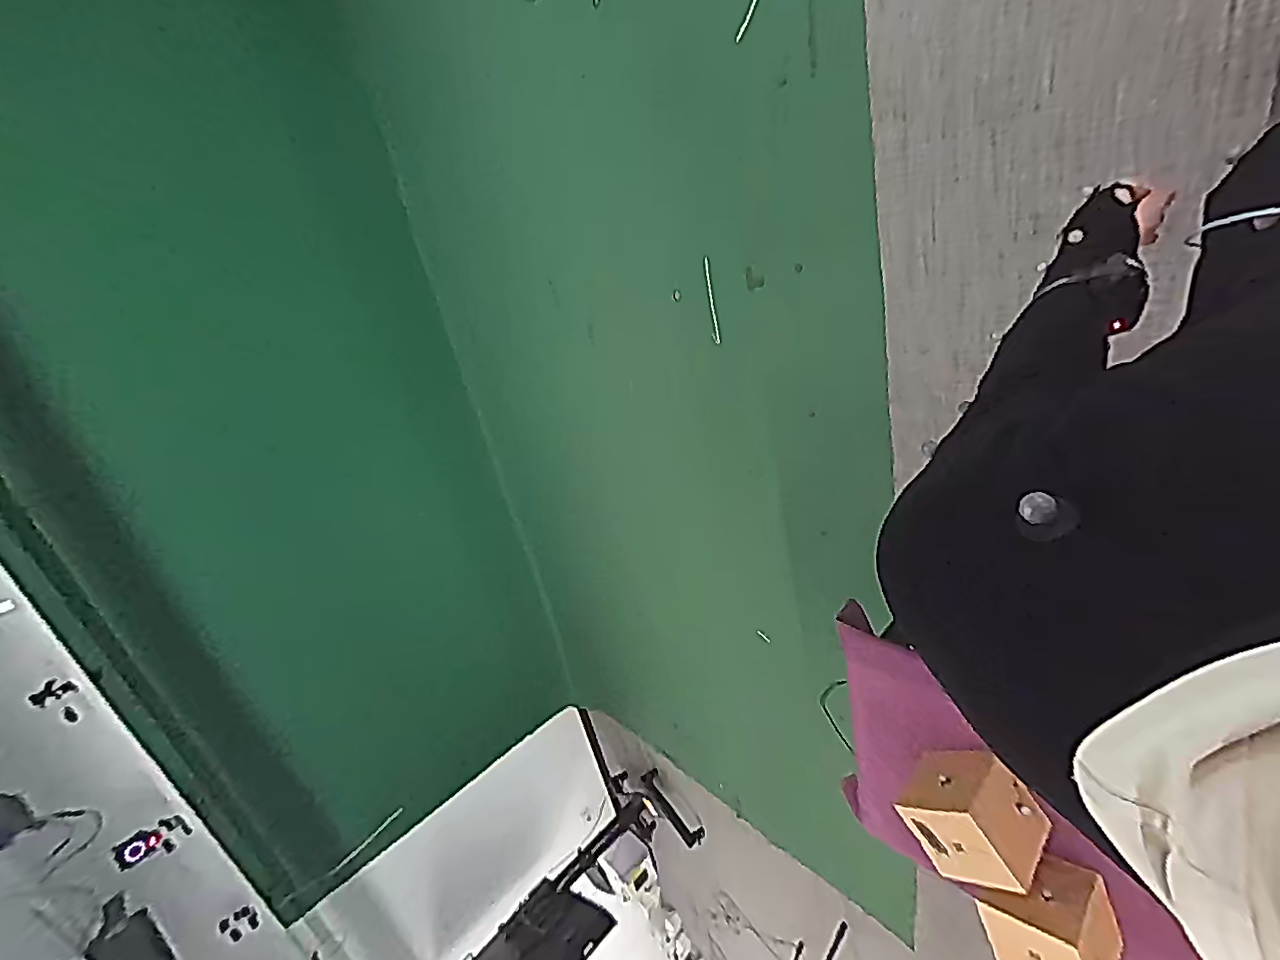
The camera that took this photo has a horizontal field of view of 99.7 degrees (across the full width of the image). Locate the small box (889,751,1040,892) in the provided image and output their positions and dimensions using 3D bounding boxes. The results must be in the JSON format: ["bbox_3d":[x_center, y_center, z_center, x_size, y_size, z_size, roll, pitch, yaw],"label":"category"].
[{"bbox_3d":[0.653,0.672,1.089,0.168,0.176,0.179,55,144,6],"label":"small box"}]

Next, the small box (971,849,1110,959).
[{"bbox_3d":[0.786,0.861,1.060,0.168,0.176,0.179,-11,105,53],"label":"small box"}]
